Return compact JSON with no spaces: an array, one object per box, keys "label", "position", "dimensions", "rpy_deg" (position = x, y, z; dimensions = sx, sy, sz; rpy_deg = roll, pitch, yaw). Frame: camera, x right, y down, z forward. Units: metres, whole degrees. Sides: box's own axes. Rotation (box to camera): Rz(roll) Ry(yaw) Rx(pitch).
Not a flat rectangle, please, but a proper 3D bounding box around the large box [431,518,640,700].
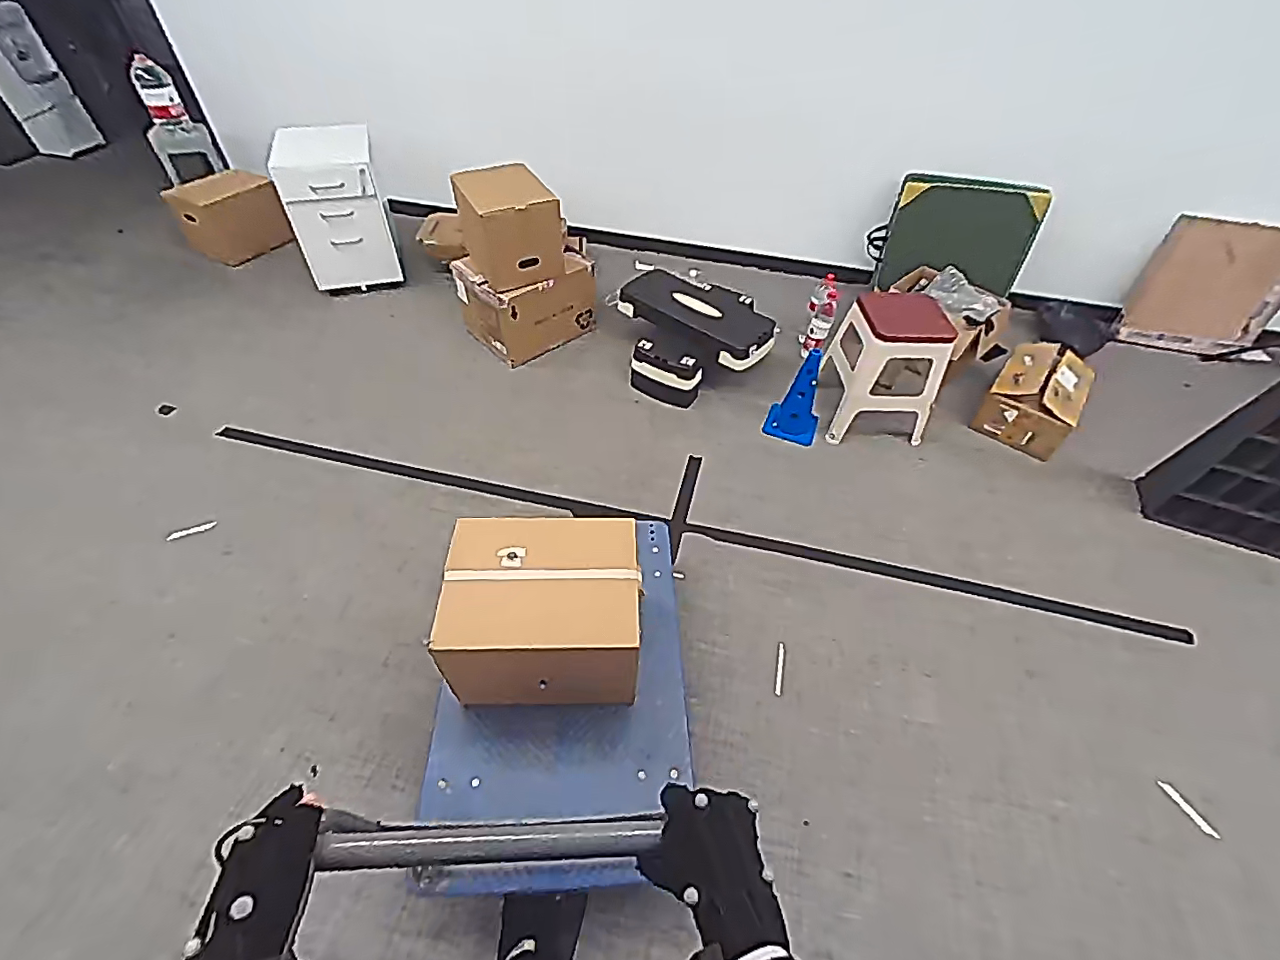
[{"label":"large box","position":[-0.210,0.302,1.247],"dimensions":[0.408,0.320,0.320],"rpy_deg":[0,49,-2]}]
